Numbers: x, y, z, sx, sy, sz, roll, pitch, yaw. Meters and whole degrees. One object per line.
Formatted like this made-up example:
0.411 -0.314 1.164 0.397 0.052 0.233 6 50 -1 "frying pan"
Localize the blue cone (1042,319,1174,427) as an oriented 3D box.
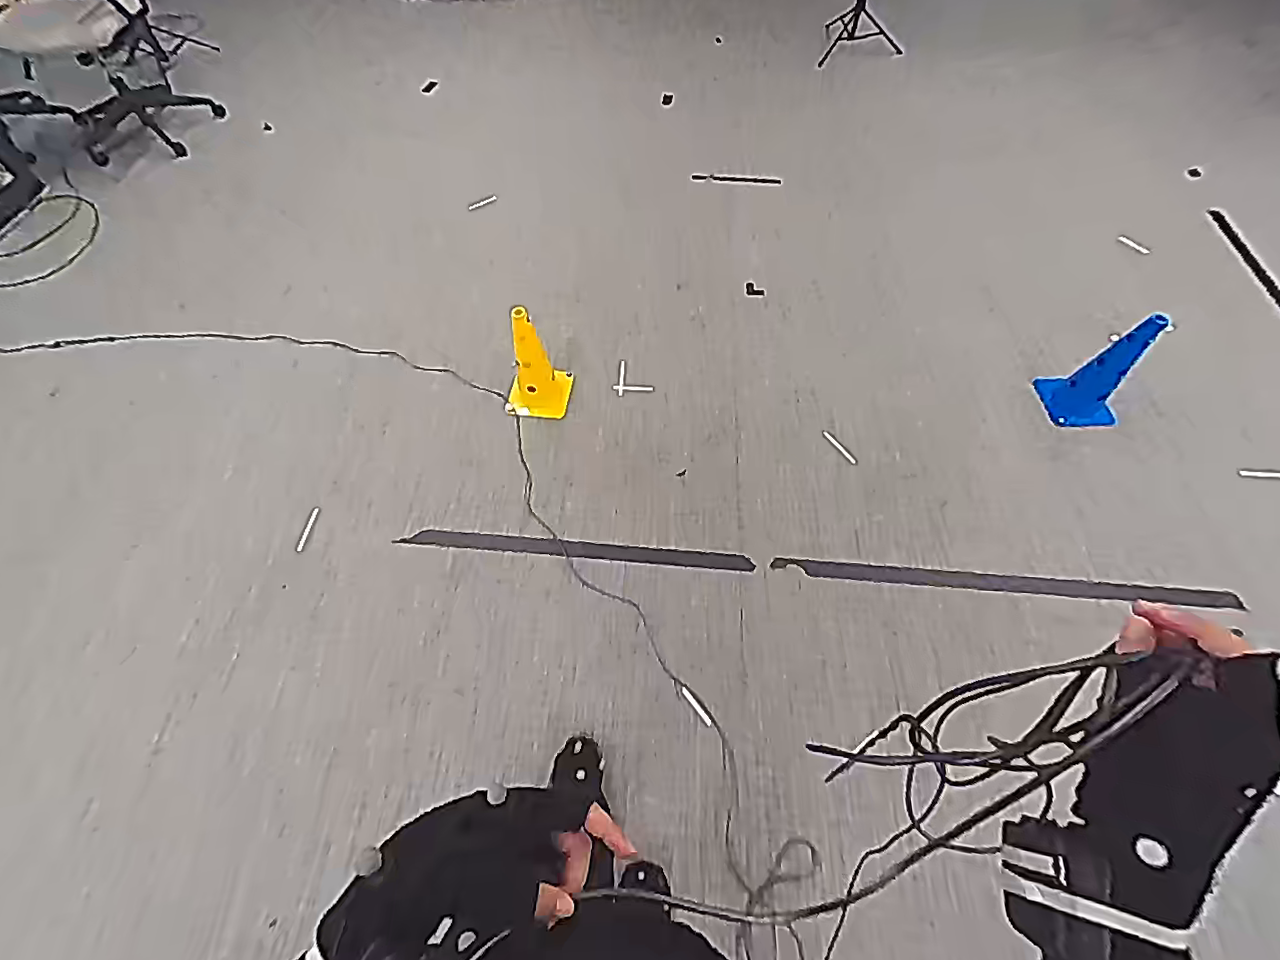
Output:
1.419 -0.335 1.614 0.193 0.380 0.192 -1 60 1 "blue cone"
